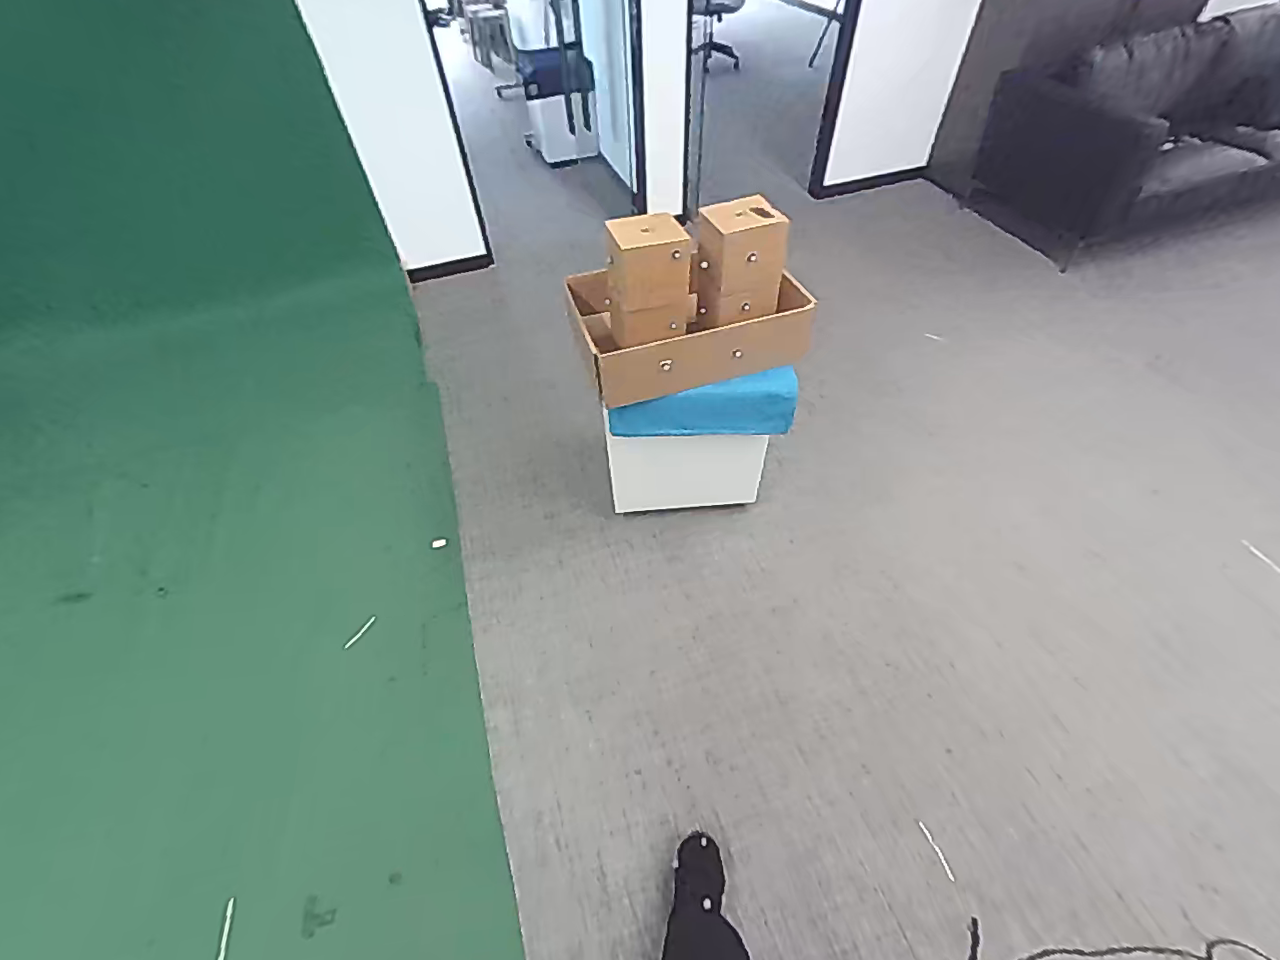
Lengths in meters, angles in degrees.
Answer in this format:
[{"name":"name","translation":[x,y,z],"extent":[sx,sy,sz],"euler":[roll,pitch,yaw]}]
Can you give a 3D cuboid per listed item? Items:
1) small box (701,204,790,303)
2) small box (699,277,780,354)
[{"name":"small box","translation":[0.266,-0.590,1.410],"extent":[0.179,0.176,0.168],"euler":[-17,48,-9]},{"name":"small box","translation":[0.276,-0.479,1.530],"extent":[0.179,0.176,0.168],"euler":[-15,49,-8]}]
